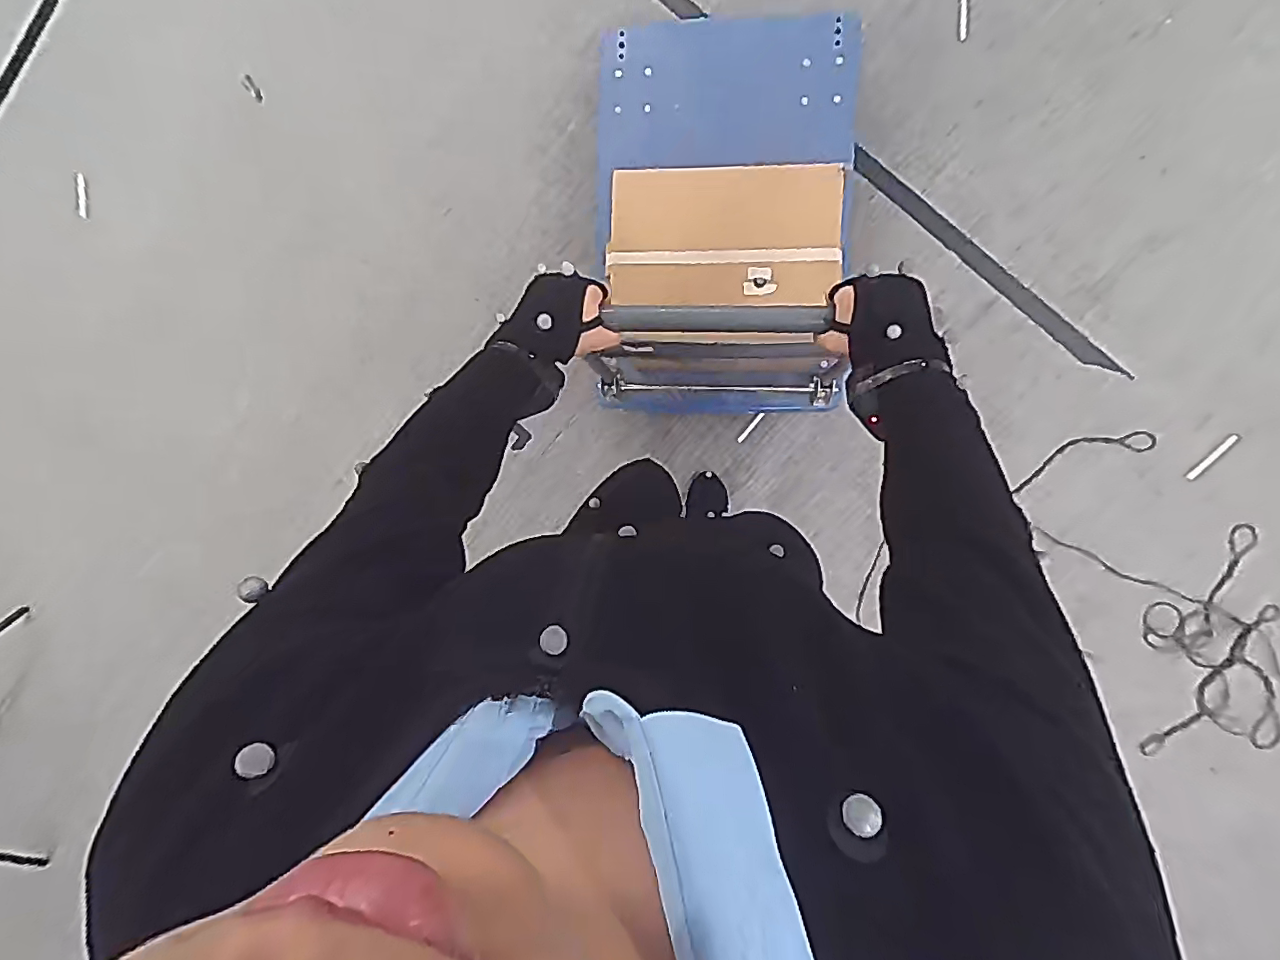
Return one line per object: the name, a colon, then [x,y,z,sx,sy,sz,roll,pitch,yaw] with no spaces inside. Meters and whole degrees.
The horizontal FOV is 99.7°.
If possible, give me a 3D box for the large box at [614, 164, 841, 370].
large box: [0.163,-0.406,1.113,0.408,0.320,0.320,2,94,6]
